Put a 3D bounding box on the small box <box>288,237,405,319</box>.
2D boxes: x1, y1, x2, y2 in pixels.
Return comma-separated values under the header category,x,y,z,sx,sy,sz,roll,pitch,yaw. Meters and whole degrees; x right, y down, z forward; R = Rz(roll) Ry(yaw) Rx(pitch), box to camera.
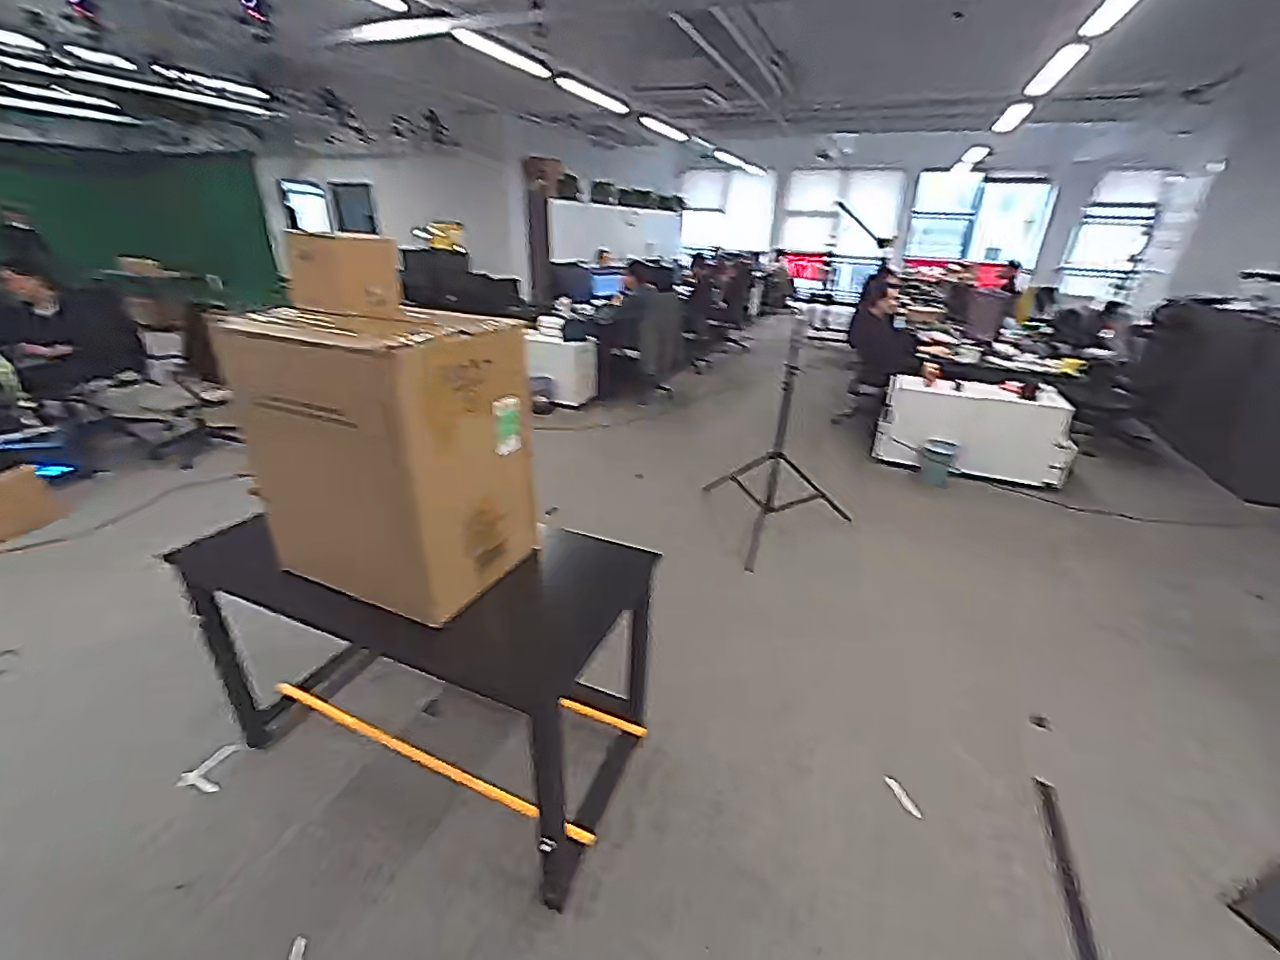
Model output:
category,x,y,z,sx,sy,sz,roll,pitch,yaw
small box,-0.691,-0.480,1.288,0.179,0.176,0.168,14,26,21
